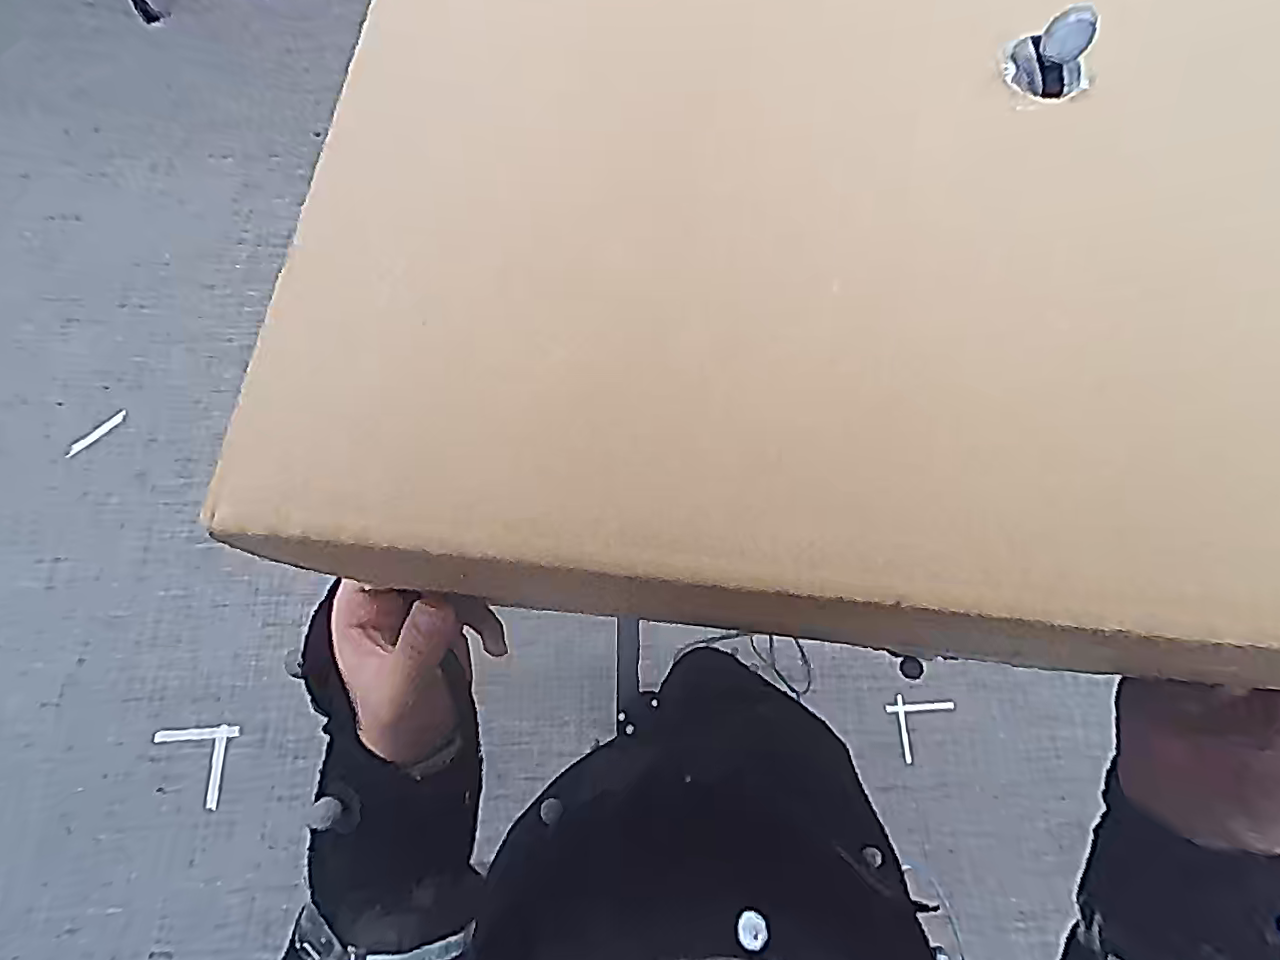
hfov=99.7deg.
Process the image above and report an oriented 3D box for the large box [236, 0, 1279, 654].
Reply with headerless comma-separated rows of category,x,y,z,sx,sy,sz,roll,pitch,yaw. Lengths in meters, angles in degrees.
large box,0.106,-0.085,0.309,0.408,0.320,0.320,6,75,-1
